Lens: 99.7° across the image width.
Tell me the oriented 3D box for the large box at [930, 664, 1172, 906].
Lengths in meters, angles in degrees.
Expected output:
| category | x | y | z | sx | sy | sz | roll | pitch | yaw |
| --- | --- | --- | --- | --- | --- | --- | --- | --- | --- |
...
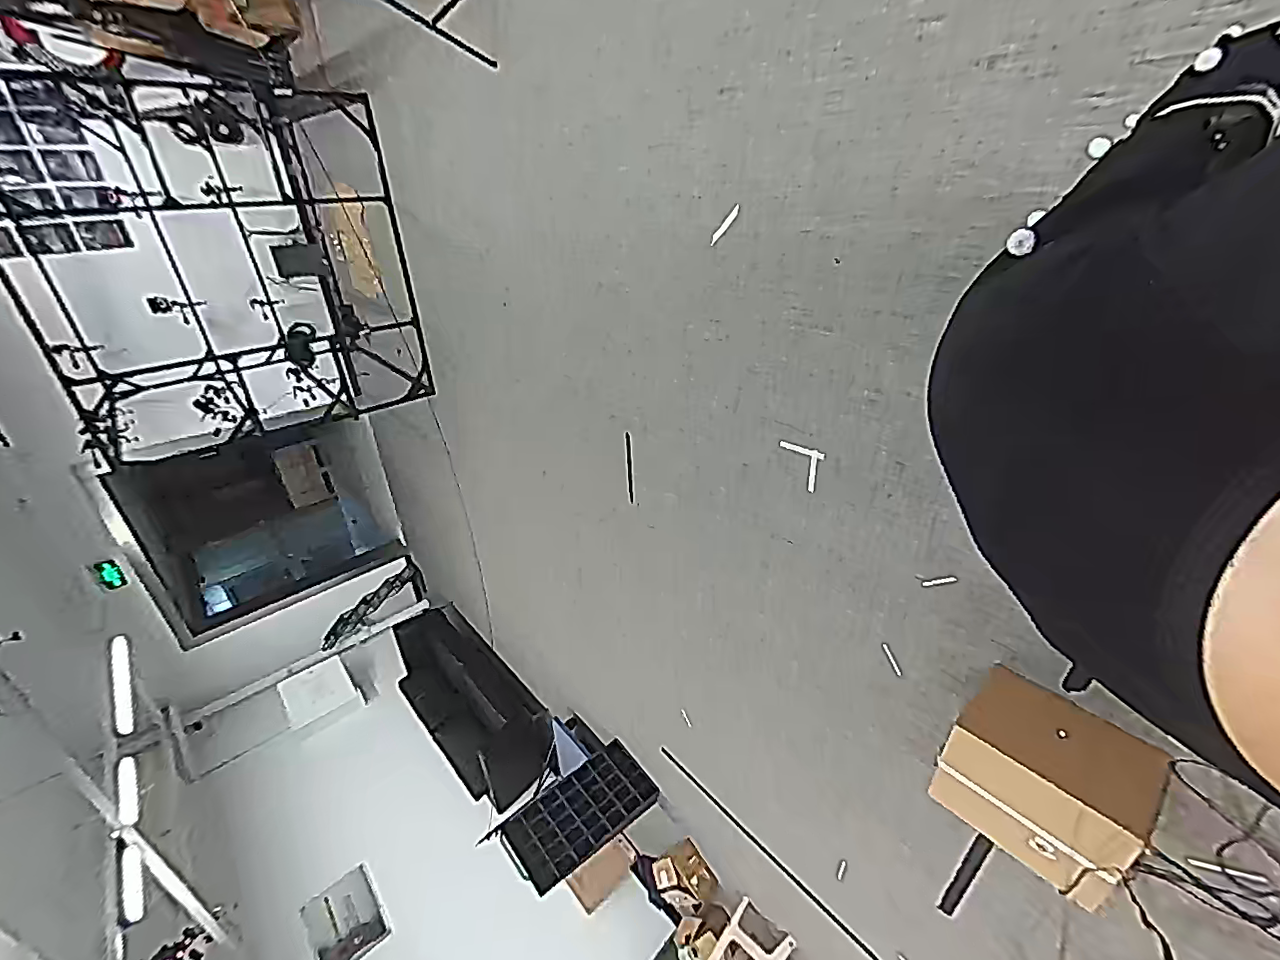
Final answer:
| category | x | y | z | sx | sy | sz | roll | pitch | yaw |
| --- | --- | --- | --- | --- | --- | --- | --- | --- | --- |
| large box | 1.076 | 0.781 | 1.447 | 0.408 | 0.320 | 0.320 | 28 | 130 | 41 |
